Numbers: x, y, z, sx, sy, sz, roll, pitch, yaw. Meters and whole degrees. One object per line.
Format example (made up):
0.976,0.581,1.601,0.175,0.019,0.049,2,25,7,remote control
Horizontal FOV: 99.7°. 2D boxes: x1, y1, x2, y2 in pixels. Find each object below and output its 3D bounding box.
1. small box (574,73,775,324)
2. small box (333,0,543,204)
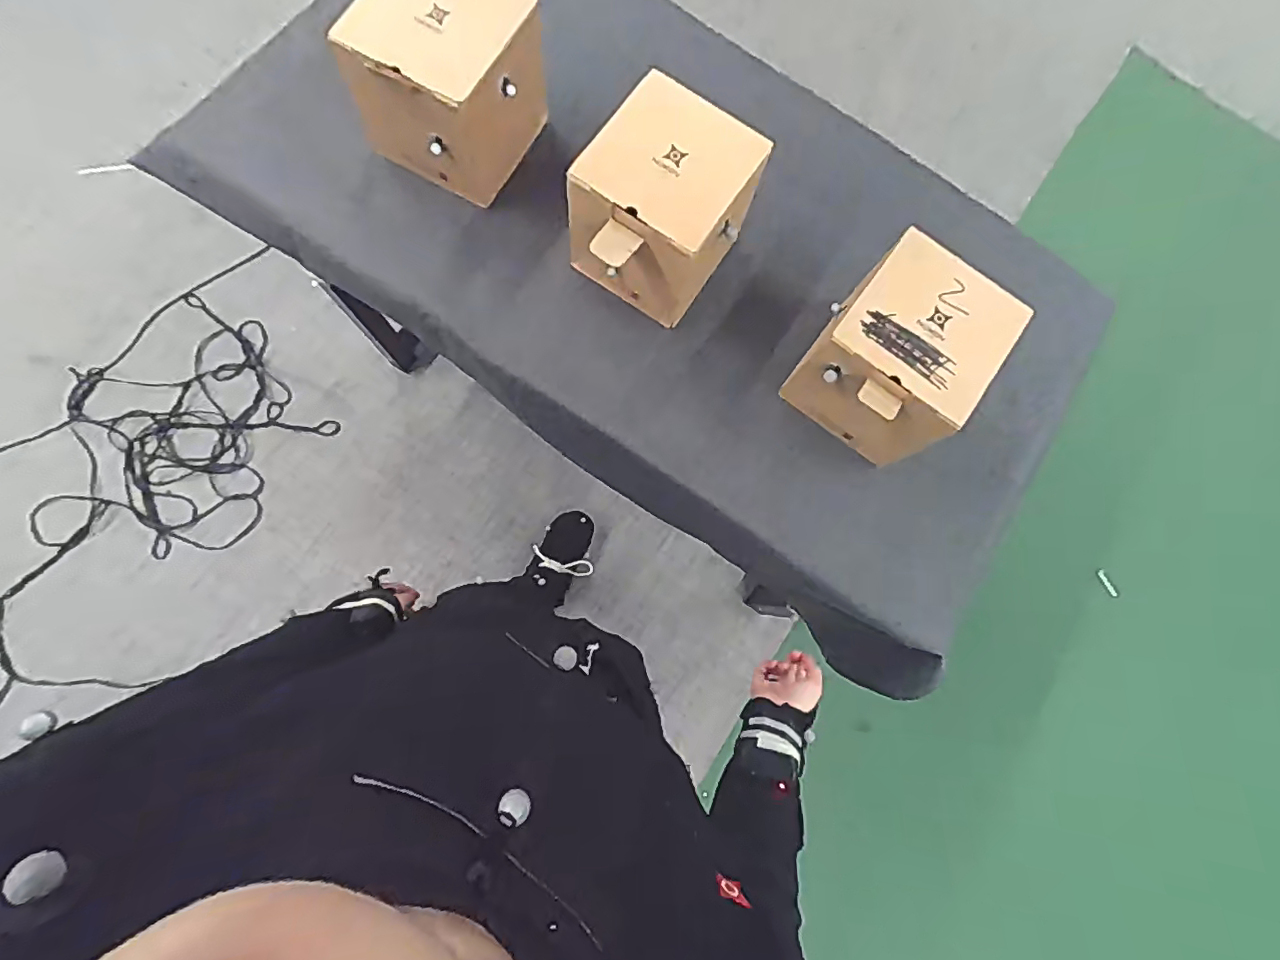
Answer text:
0.032,-0.333,0.669,0.168,0.176,0.179,33,78,2,small box
-0.231,-0.493,0.679,0.168,0.176,0.179,28,76,0,small box
